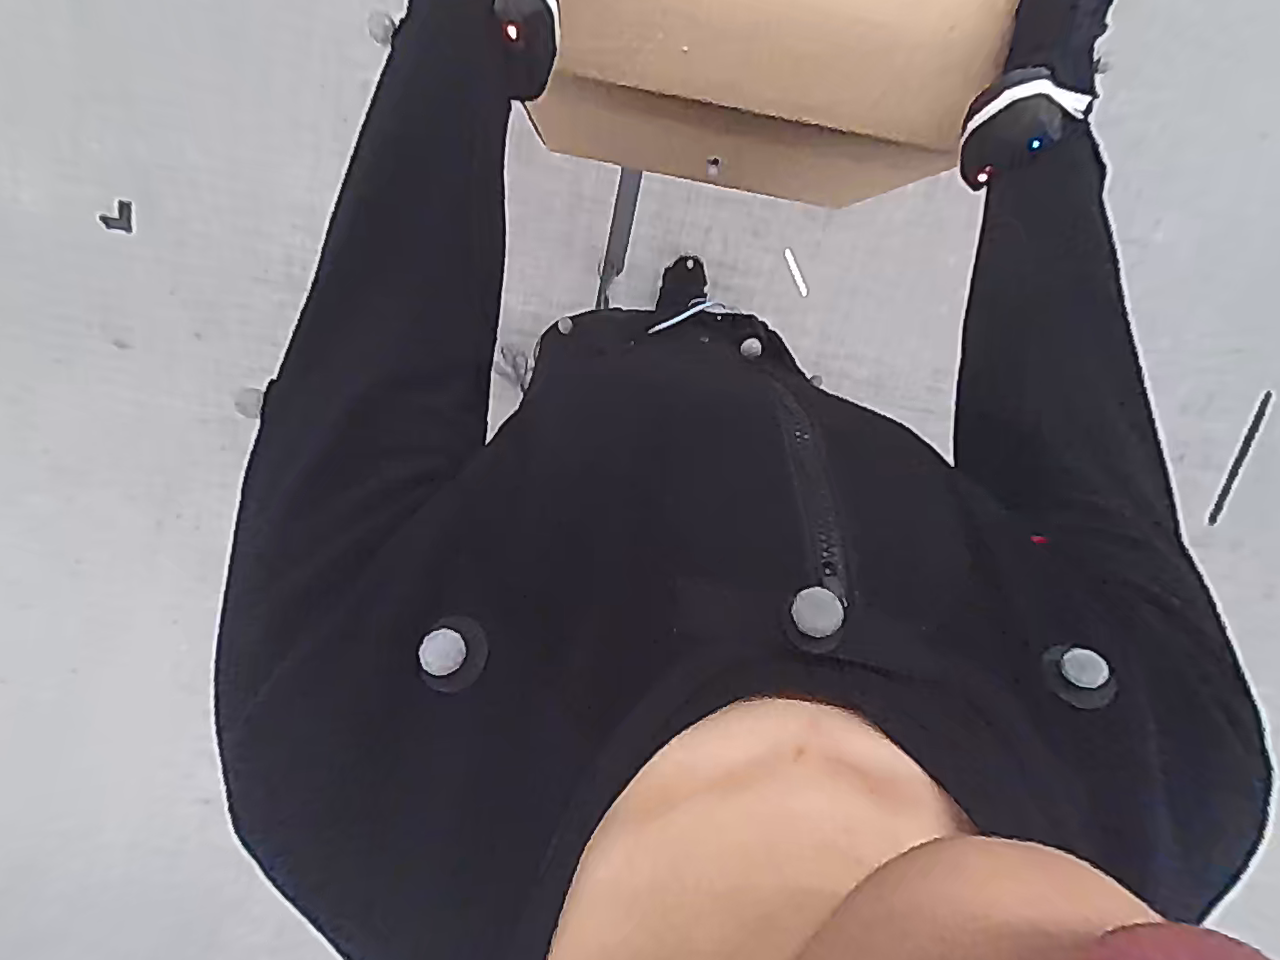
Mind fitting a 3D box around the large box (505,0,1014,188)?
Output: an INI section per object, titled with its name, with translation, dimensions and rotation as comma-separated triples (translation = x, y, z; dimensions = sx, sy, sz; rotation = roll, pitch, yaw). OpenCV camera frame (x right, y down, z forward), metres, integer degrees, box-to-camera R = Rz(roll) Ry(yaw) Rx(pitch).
[large box]
translation = 0.110, -0.511, 0.535
dimensions = 0.408, 0.320, 0.320
rotation = 9, 108, -5
